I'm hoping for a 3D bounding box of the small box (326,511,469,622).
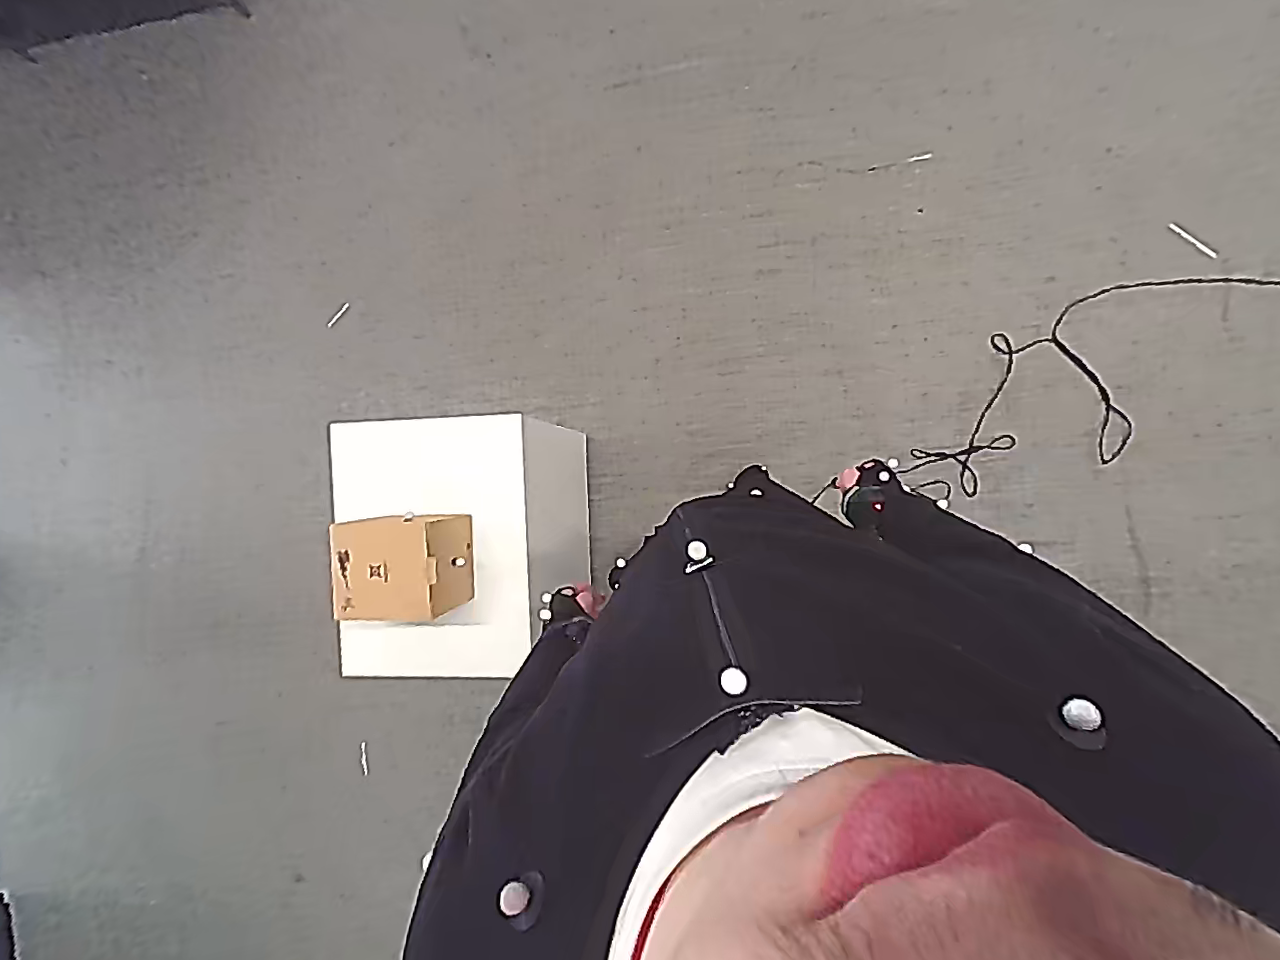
[{"bbox_3d":[-0.420,0.147,0.967,0.179,0.176,0.168,-4,91,7],"label":"small box"}]
